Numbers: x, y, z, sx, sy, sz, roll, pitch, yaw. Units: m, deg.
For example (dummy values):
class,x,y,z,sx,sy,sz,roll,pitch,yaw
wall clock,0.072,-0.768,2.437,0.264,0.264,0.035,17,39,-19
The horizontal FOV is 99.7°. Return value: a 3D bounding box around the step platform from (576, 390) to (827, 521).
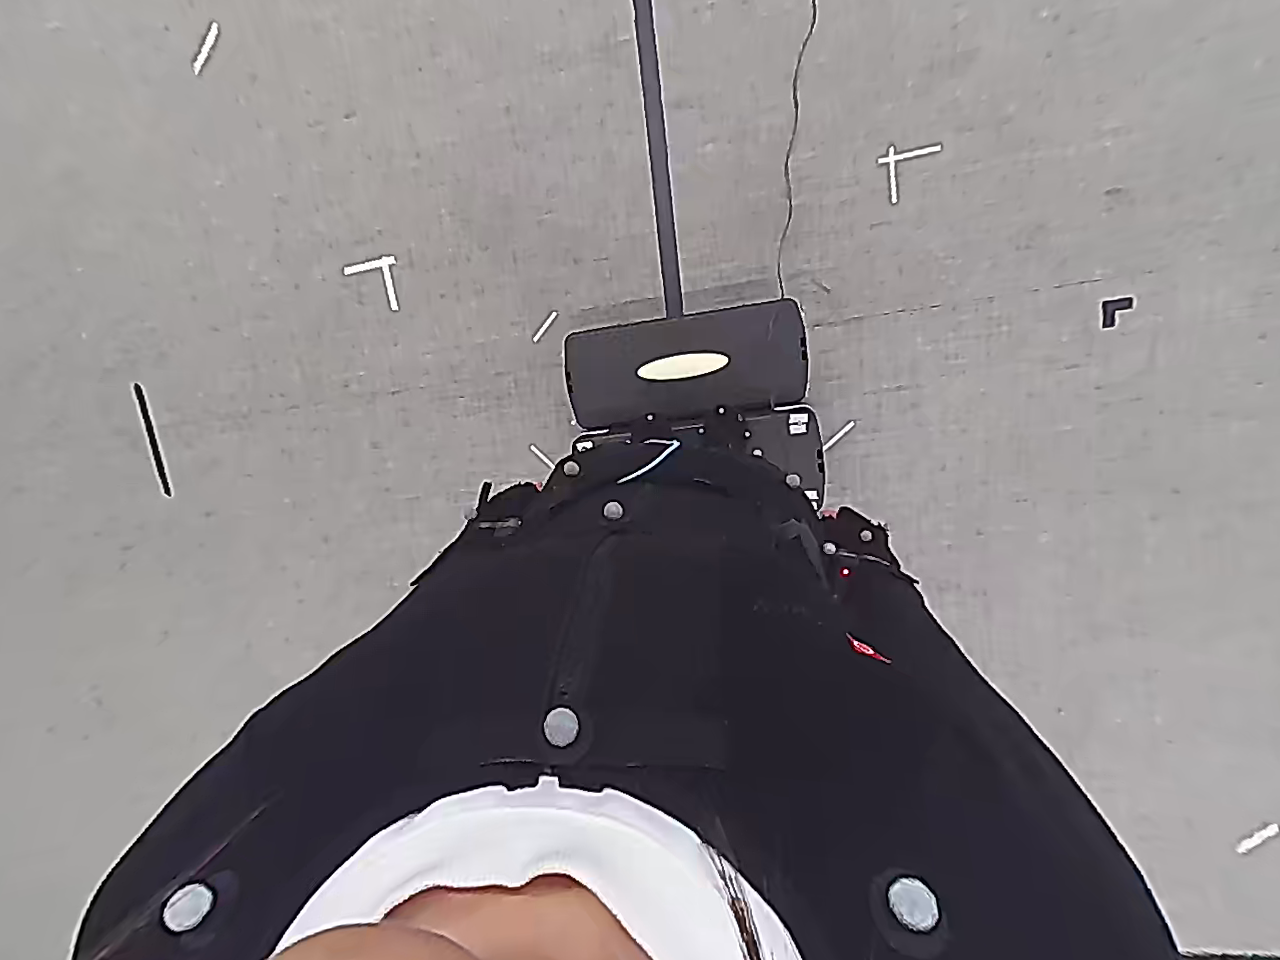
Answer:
class,x,y,z,sx,sy,sz,roll,pitch,yaw
step platform,0.166,-0.064,1.515,0.684,0.204,0.286,-7,98,11
